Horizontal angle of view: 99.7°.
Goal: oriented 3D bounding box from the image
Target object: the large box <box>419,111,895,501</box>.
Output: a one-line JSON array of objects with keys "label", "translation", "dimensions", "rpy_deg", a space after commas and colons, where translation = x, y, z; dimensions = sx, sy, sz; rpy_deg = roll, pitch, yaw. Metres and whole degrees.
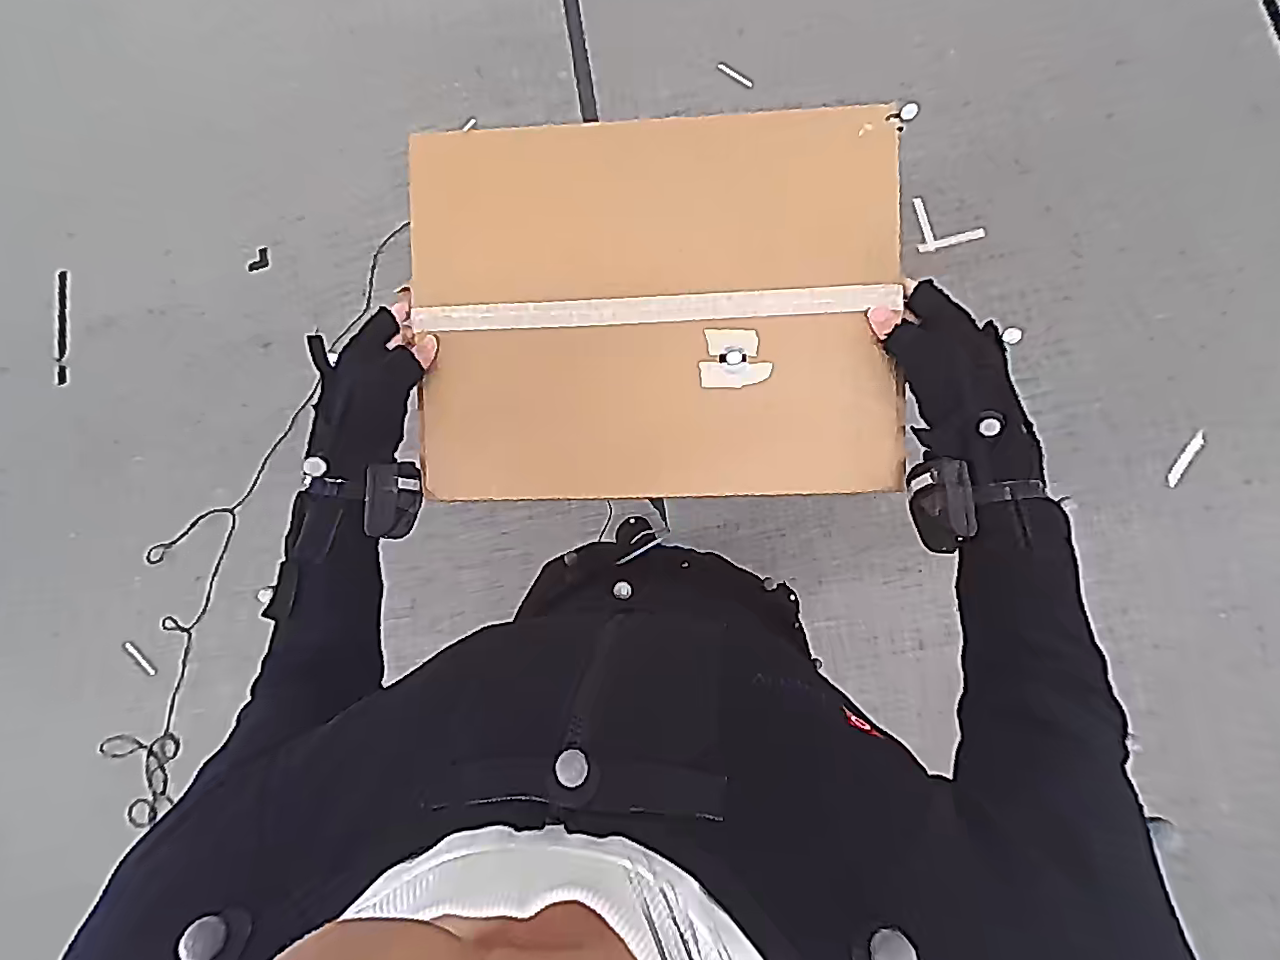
[{"label": "large box", "translation": [0.017, -0.148, 0.612], "dimensions": [0.408, 0.320, 0.320], "rpy_deg": [-2, 92, 3]}]
